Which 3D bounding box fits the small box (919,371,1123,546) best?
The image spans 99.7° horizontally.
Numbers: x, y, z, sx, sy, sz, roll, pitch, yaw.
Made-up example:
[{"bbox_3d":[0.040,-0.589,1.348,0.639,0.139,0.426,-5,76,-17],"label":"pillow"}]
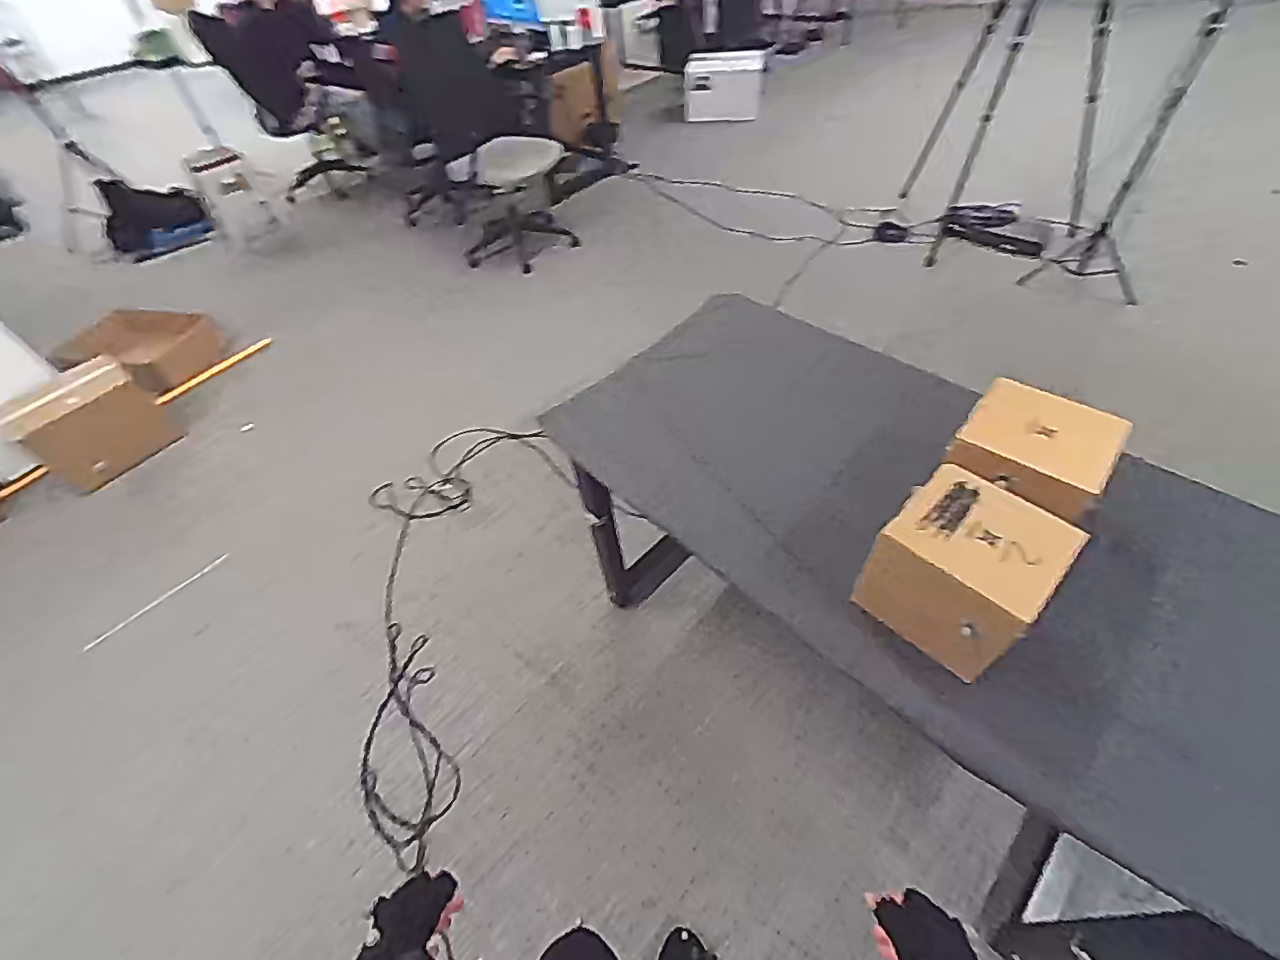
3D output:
[{"bbox_3d":[0.557,-0.027,0.810,0.179,0.176,0.168,31,60,30],"label":"small box"}]
